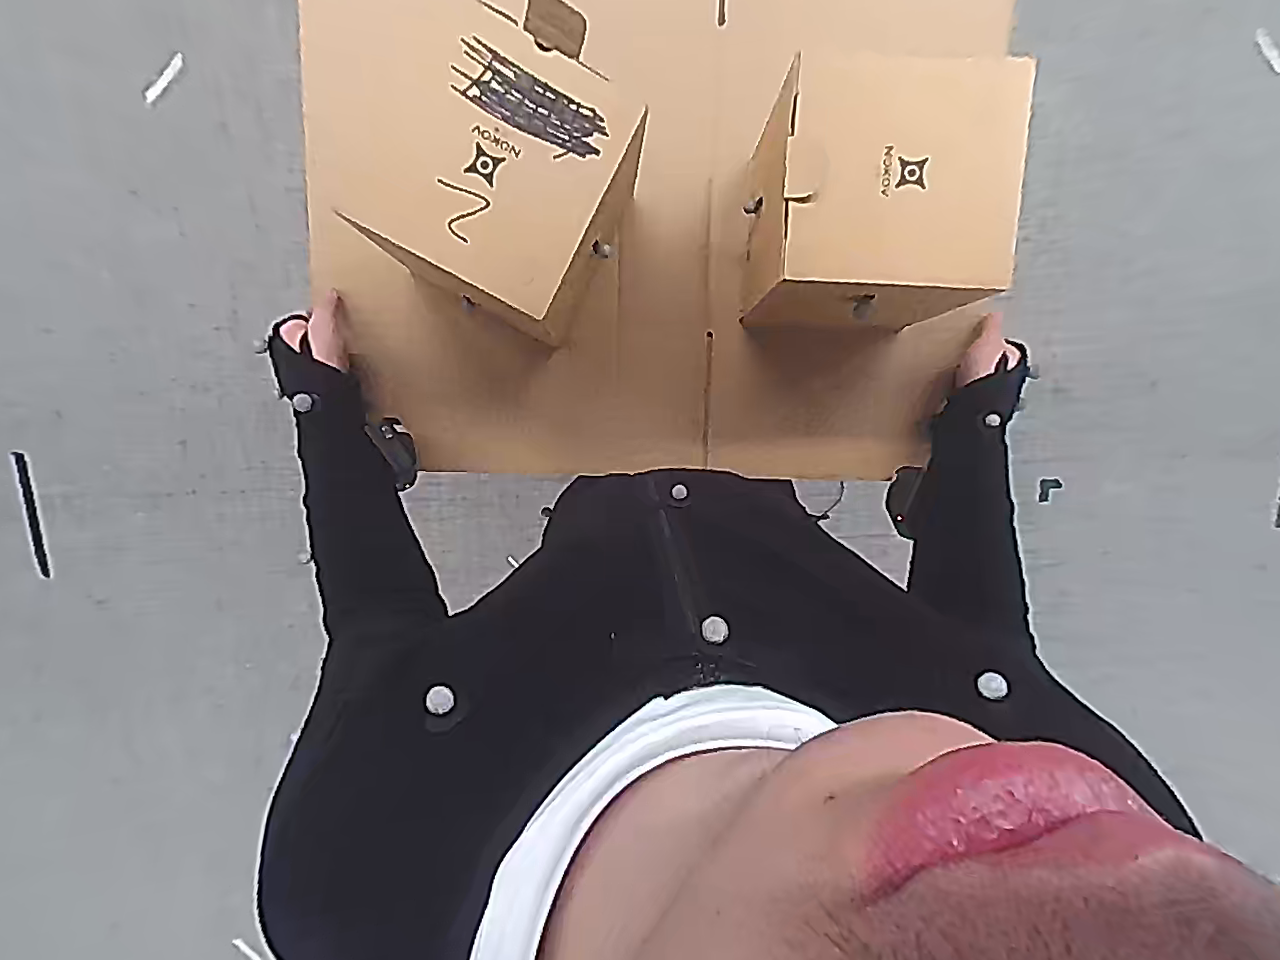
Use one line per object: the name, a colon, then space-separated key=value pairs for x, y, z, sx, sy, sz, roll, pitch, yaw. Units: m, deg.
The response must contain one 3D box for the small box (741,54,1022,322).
small box: x=0.200 y=-0.245 z=0.497 sx=0.179 sy=0.176 sz=0.168 roll=2 pitch=96 yaw=0
